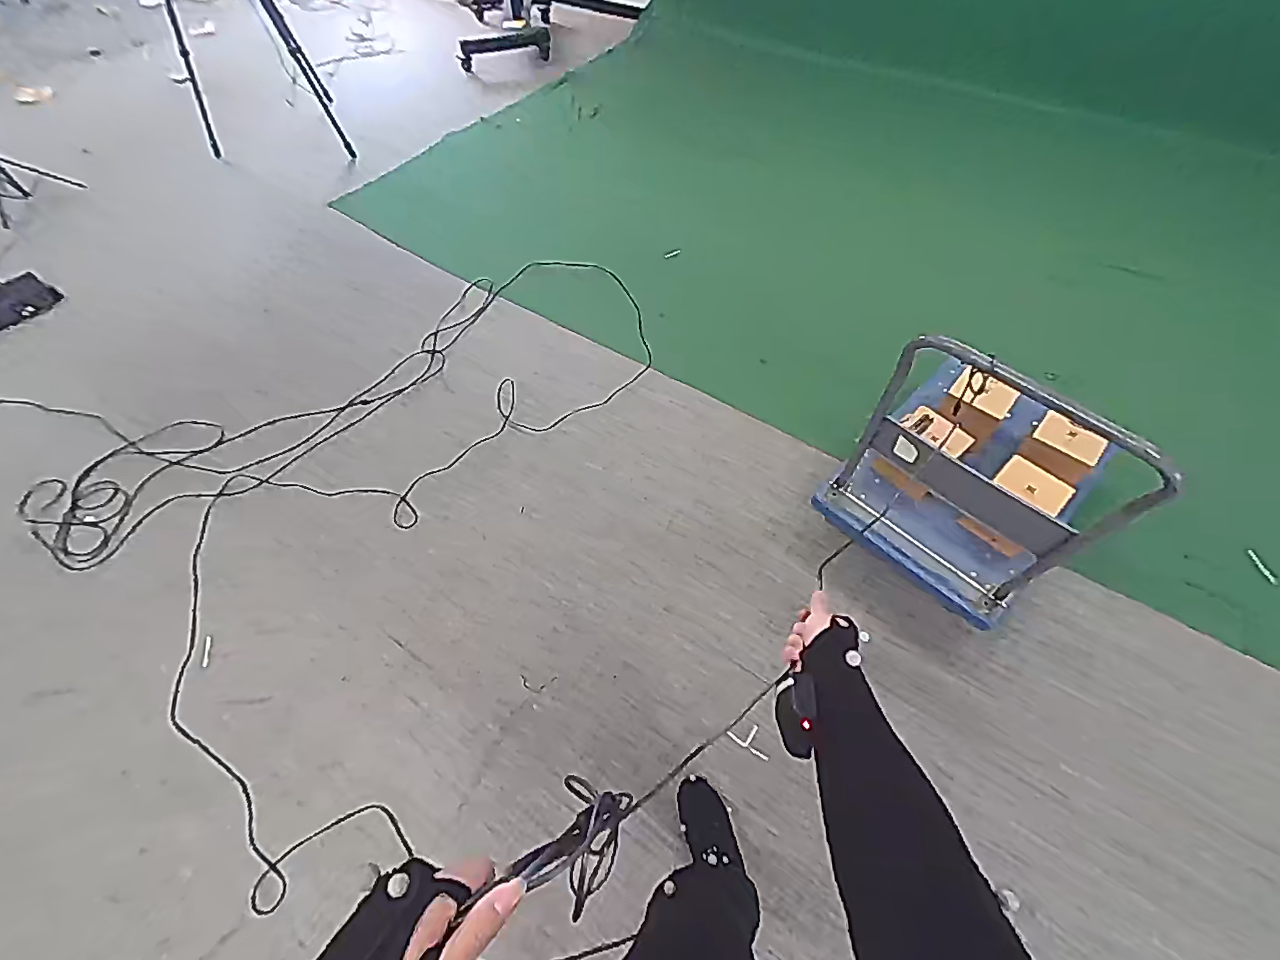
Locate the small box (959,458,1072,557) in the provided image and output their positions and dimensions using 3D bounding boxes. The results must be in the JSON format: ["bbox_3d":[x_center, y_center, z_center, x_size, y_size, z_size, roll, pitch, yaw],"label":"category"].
[{"bbox_3d":[1.025,0.078,1.494,0.179,0.176,0.168,-39,64,-21],"label":"small box"}]

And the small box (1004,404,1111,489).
[{"bbox_3d":[1.219,-0.083,1.593,0.168,0.176,0.179,36,65,23],"label":"small box"}]
